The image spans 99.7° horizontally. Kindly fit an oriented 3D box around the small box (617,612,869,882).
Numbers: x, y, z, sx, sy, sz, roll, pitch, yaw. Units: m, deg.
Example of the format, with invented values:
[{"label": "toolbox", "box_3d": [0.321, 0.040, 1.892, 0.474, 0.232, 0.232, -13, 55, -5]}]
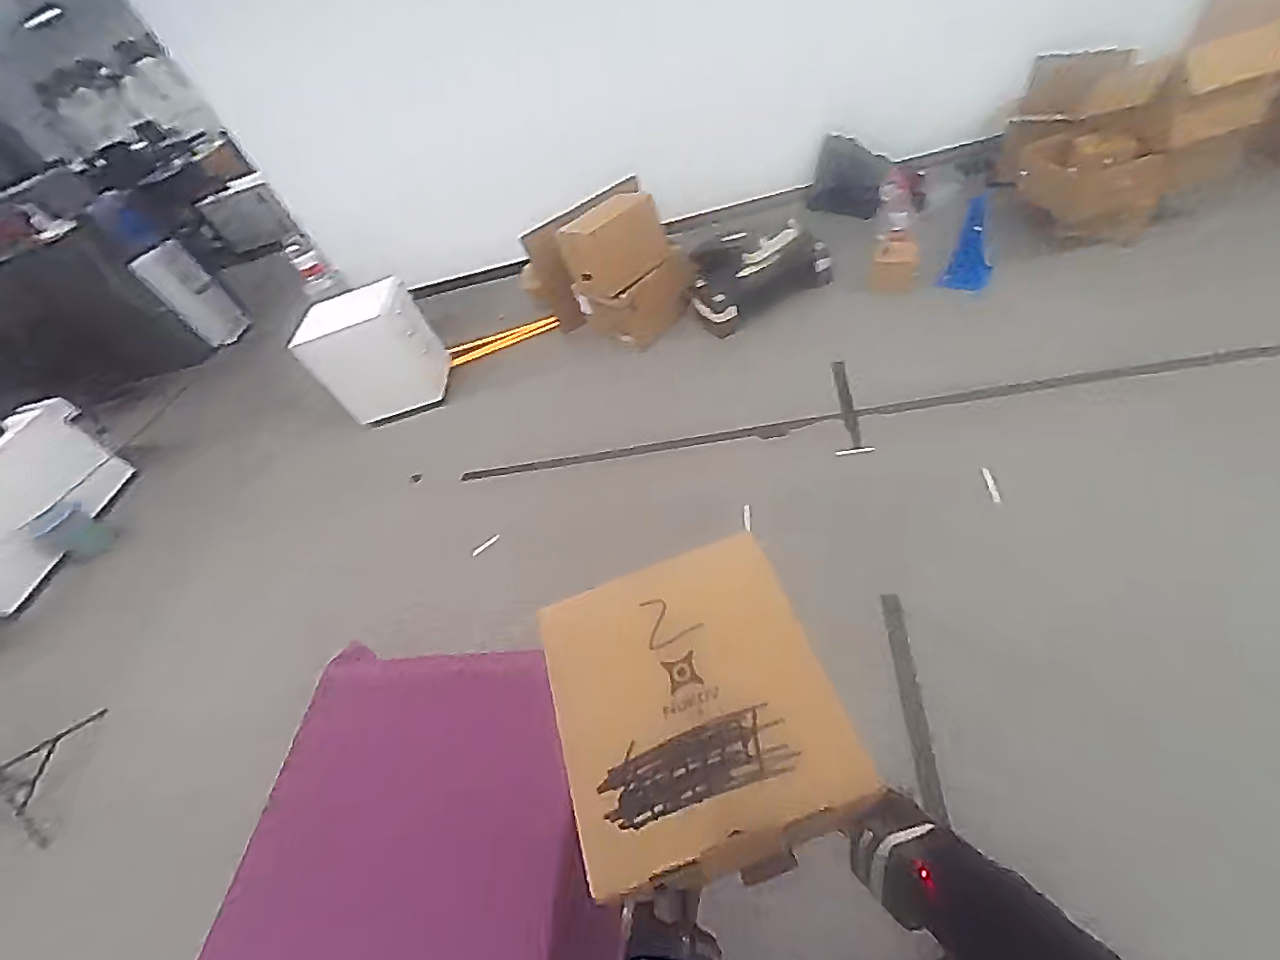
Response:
[{"label": "small box", "box_3d": [0.092, 0.262, 0.525, 0.168, 0.176, 0.179, -22, 52, -1]}]
